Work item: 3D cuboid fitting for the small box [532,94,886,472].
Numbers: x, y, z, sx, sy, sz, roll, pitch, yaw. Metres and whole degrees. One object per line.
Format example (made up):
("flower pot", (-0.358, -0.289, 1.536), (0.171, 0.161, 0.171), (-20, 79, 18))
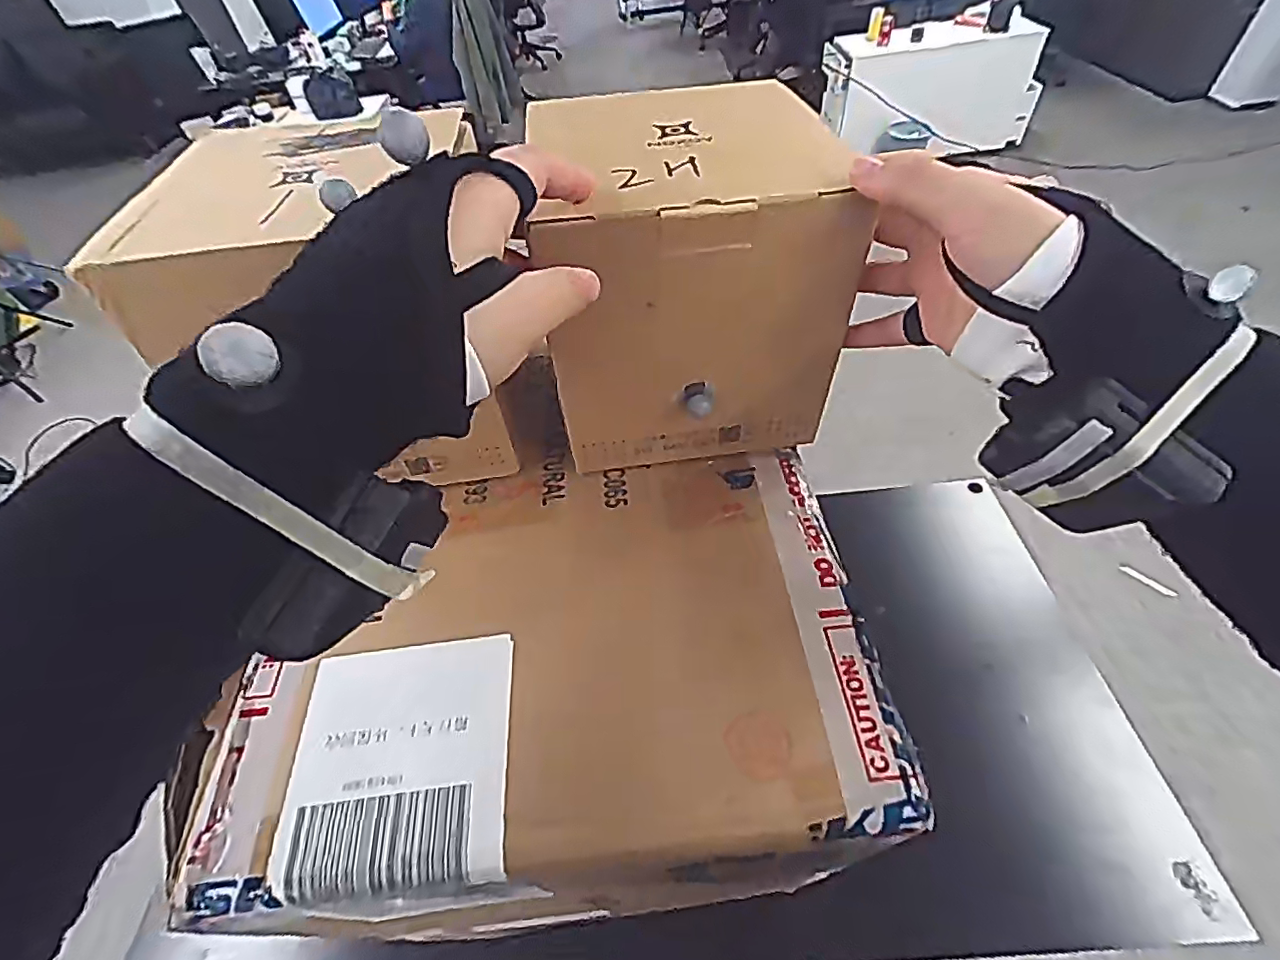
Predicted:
("small box", (0.027, -0.129, 0.359), (0.168, 0.176, 0.179), (-7, 49, -2))

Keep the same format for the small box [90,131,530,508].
("small box", (-0.172, -0.106, 0.358), (0.168, 0.176, 0.179), (-8, 48, -3))
